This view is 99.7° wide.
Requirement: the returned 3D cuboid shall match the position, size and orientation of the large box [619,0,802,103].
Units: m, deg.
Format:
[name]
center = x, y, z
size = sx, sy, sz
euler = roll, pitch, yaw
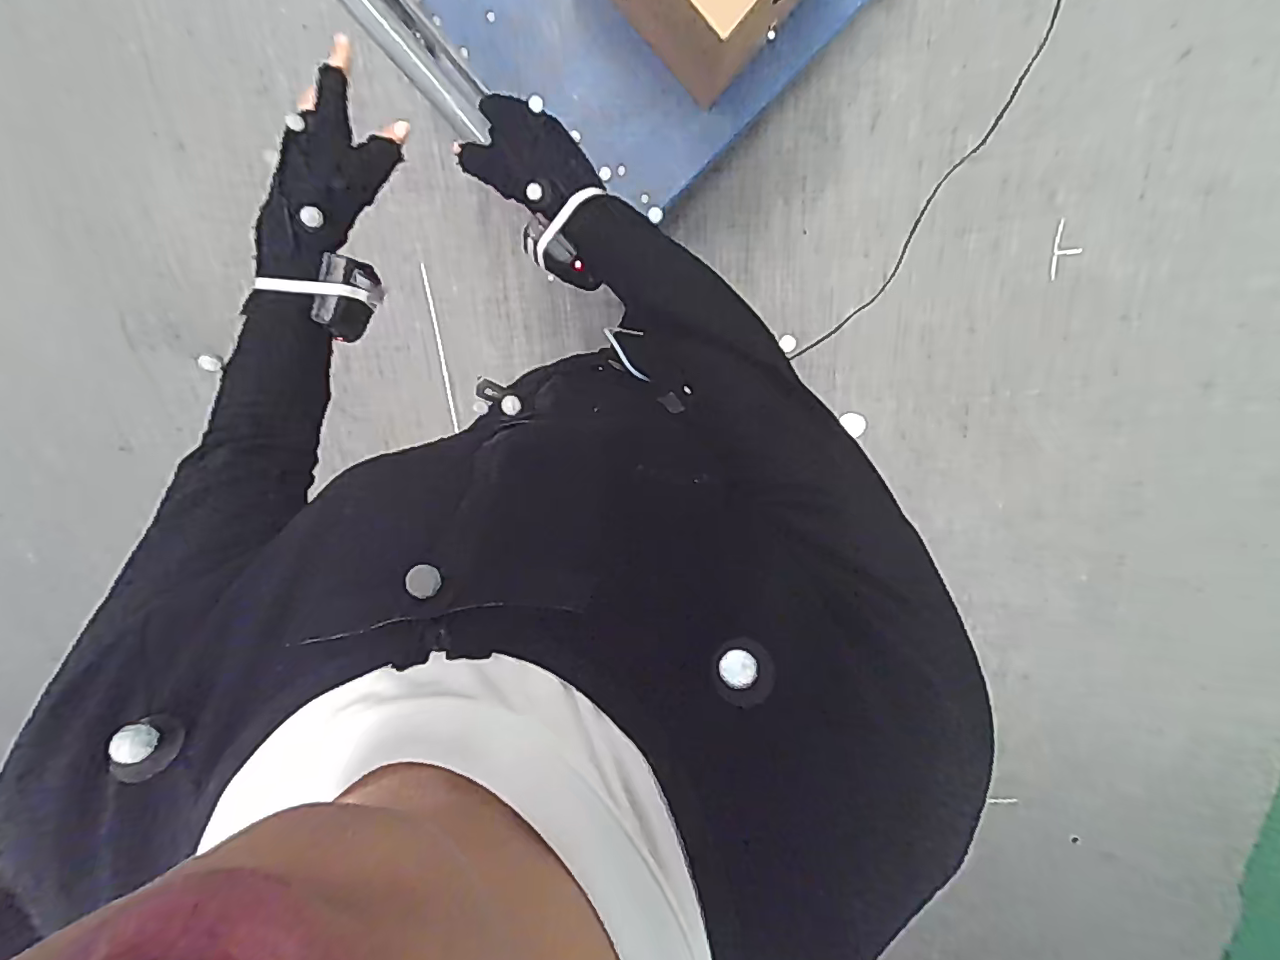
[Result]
[large box]
center = 0.096, -0.915, 0.841
size = 0.408, 0.320, 0.320
euler = 43, 105, -11
